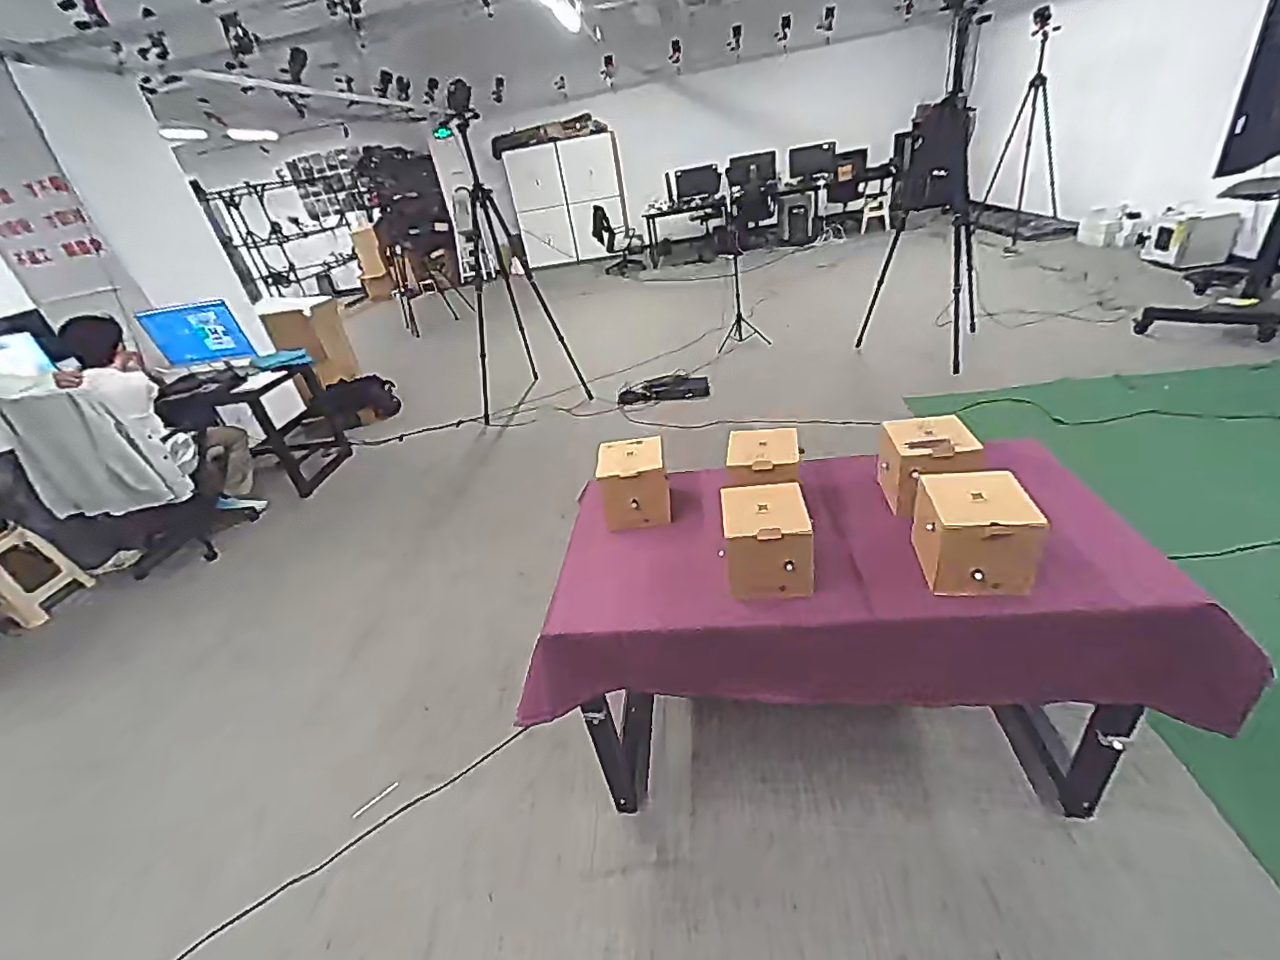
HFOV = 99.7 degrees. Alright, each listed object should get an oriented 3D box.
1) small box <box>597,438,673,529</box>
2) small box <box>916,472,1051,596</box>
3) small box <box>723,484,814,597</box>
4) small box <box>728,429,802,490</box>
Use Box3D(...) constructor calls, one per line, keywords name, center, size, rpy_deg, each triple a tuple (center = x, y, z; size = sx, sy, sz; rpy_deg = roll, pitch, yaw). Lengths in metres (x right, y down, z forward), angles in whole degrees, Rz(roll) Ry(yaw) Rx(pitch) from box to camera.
Box3D(name="small box", center=(-0.008, 0.014, 1.403), size=(0.168, 0.176, 0.179), rpy_deg=(-7, 32, 5))
Box3D(name="small box", center=(0.644, 0.101, 1.041), size=(0.168, 0.176, 0.179), rpy_deg=(-3, 32, 14))
Box3D(name="small box", center=(0.265, 0.130, 1.123), size=(0.168, 0.176, 0.179), rpy_deg=(-5, 30, 9))
Box3D(name="small box", center=(0.311, -0.009, 1.334), size=(0.168, 0.176, 0.179), rpy_deg=(-2, 32, 16))
